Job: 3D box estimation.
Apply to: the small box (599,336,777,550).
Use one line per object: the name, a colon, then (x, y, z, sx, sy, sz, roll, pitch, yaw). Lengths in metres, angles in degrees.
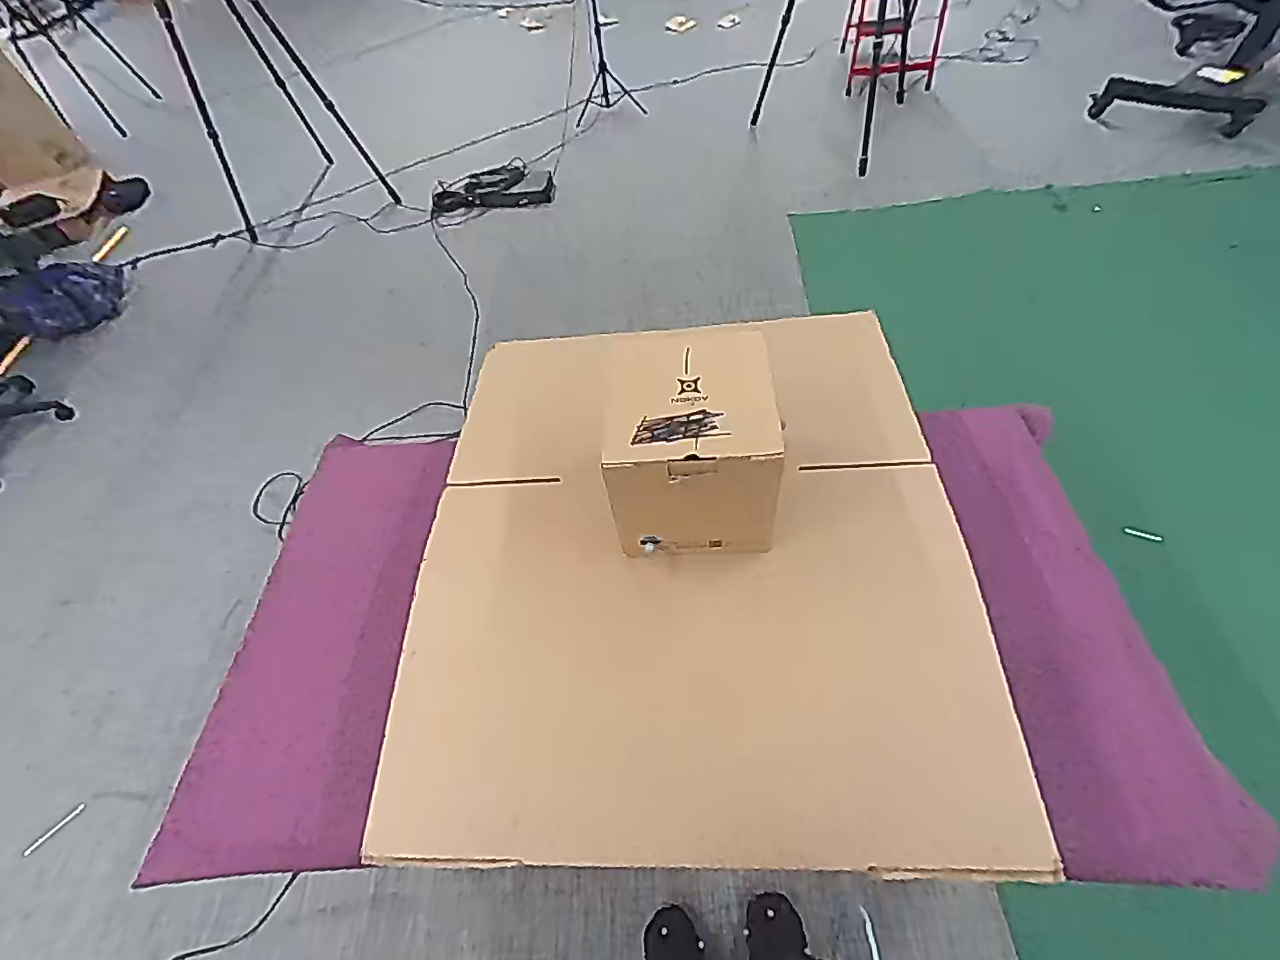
small box: (0.054, -0.032, 0.598, 0.168, 0.176, 0.179, -3, 52, 6)
